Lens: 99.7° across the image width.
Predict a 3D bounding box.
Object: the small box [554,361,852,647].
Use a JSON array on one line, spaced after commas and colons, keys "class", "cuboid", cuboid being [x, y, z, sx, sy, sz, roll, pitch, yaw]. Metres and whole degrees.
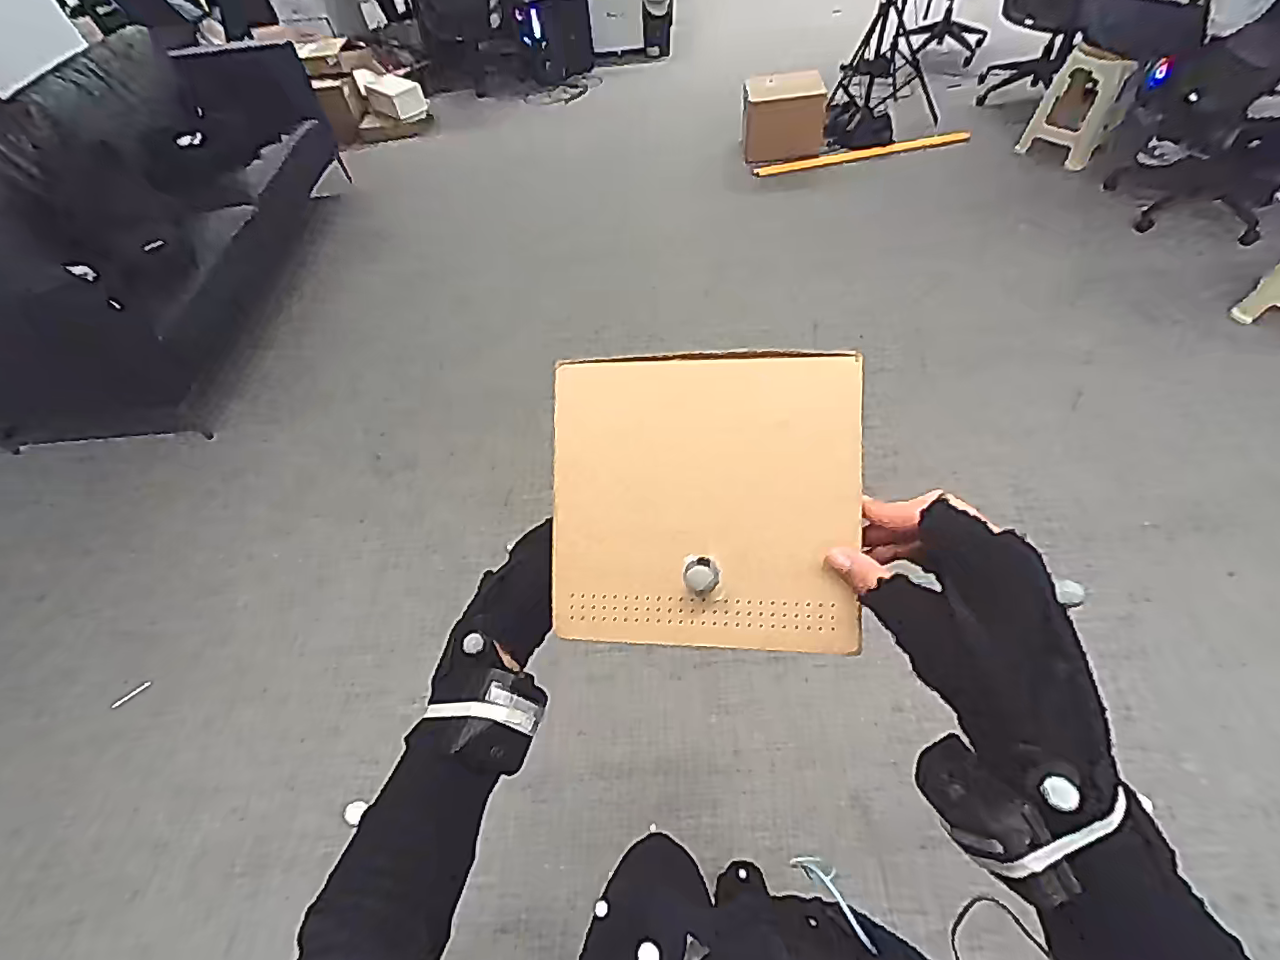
[{"class": "small box", "cuboid": [0.046, 0.016, 0.394, 0.179, 0.168, 0.176, 0, 90, 9]}]
